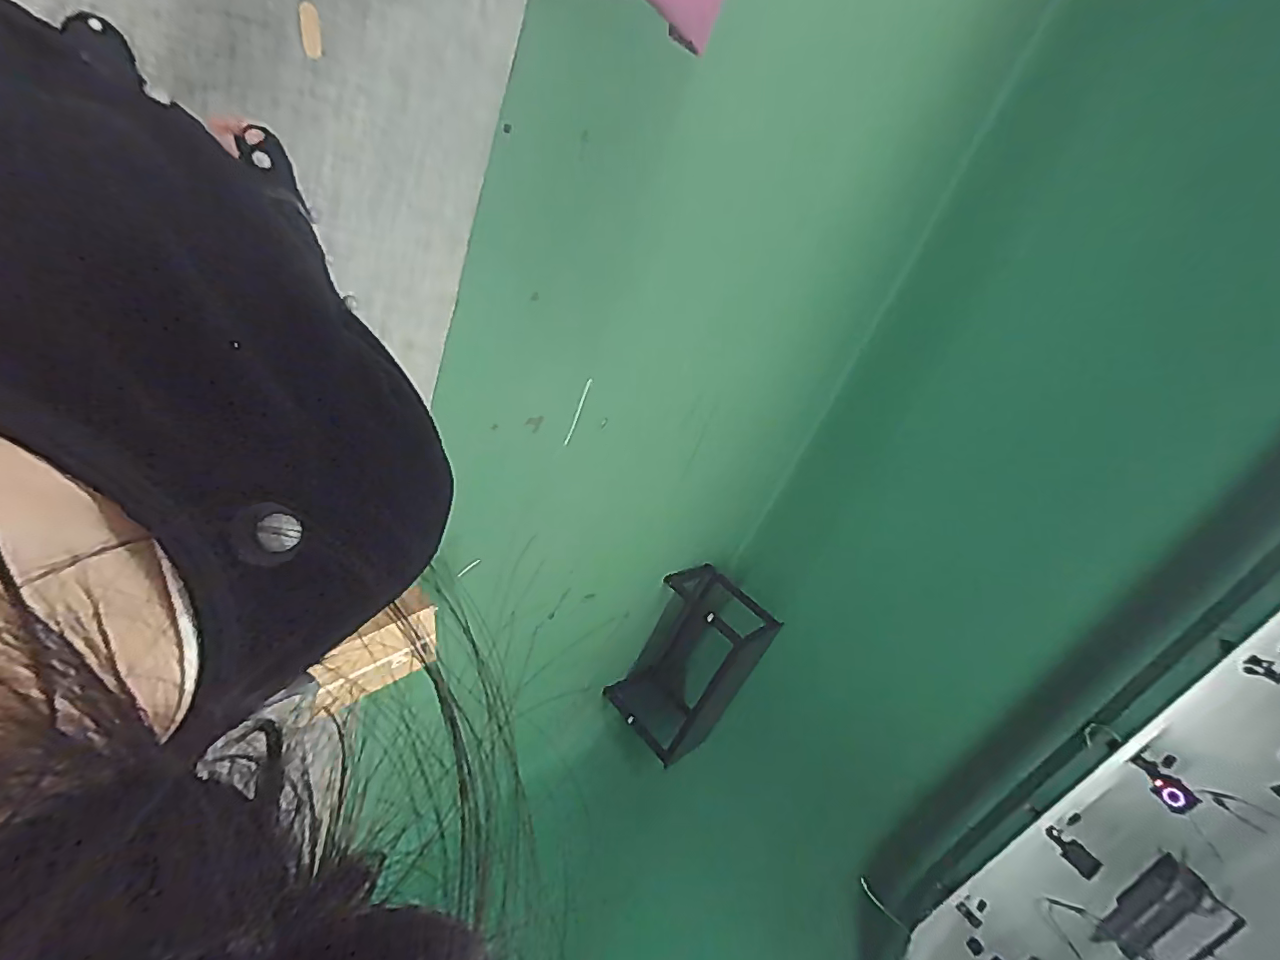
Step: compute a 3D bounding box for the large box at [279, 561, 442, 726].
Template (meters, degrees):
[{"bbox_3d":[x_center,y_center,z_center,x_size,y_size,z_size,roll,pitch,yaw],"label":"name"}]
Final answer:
[{"bbox_3d":[-0.954,0.549,1.880,0.408,0.320,0.320,-23,138,-40],"label":"large box"}]
